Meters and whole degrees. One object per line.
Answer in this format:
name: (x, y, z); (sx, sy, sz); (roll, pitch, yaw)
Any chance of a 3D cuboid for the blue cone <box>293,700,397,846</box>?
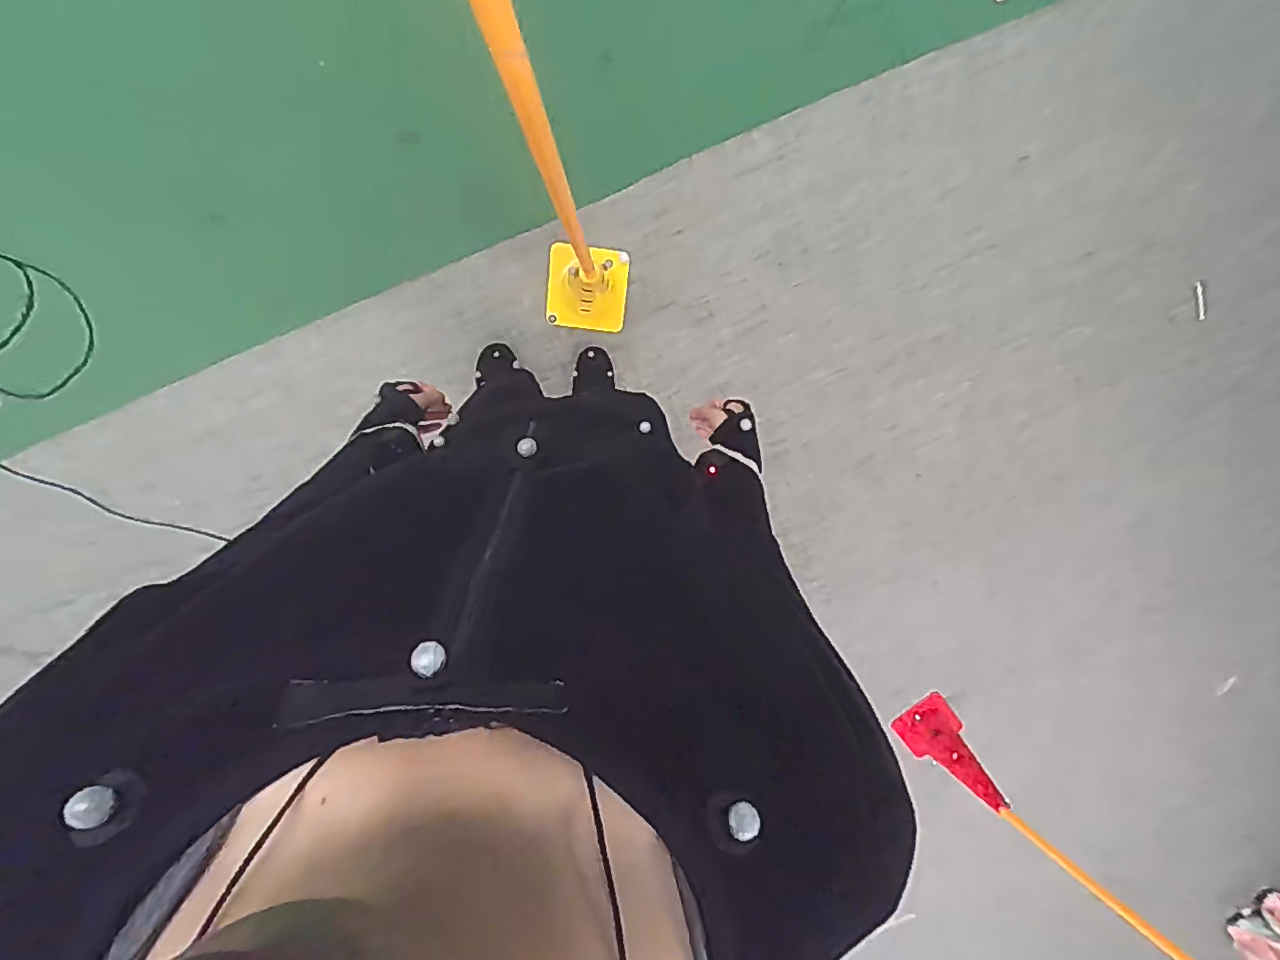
blue cone: (-0.813, 0.797, 1.454); (0.192, 0.380, 0.193); (20, 104, -13)
